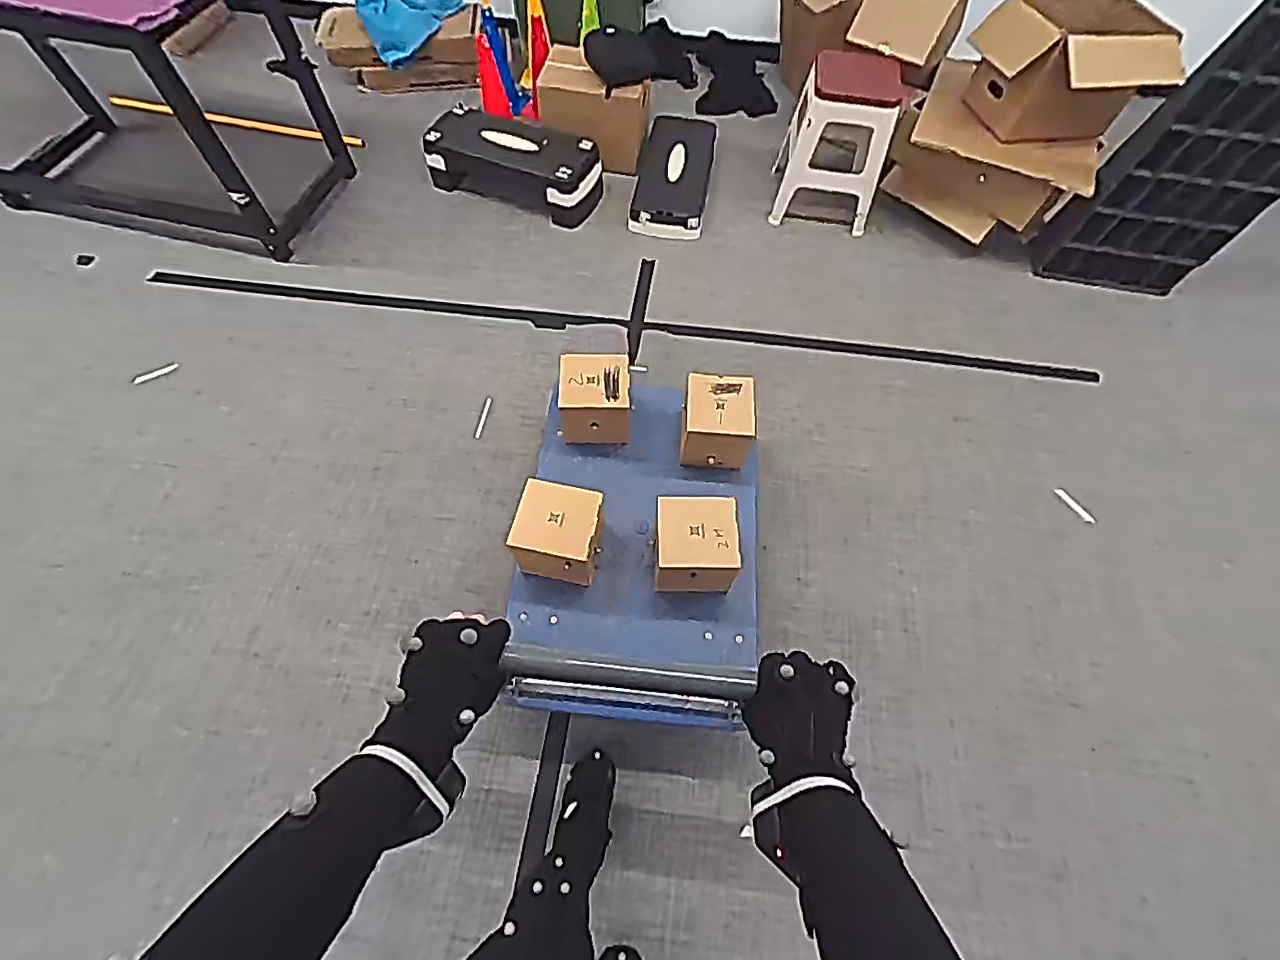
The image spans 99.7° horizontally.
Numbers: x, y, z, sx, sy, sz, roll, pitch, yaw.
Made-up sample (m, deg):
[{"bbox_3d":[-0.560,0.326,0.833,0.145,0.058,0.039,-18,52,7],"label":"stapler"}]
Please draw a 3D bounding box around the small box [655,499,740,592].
[{"bbox_3d":[0.124,0.154,1.235,0.179,0.176,0.168,1,62,-1],"label":"small box"}]

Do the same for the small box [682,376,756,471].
[{"bbox_3d":[0.199,-0.143,1.396,0.168,0.176,0.179,5,63,1],"label":"small box"}]

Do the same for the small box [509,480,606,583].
[{"bbox_3d":[-0.181,0.123,1.242,0.179,0.176,0.168,12,62,3],"label":"small box"}]
